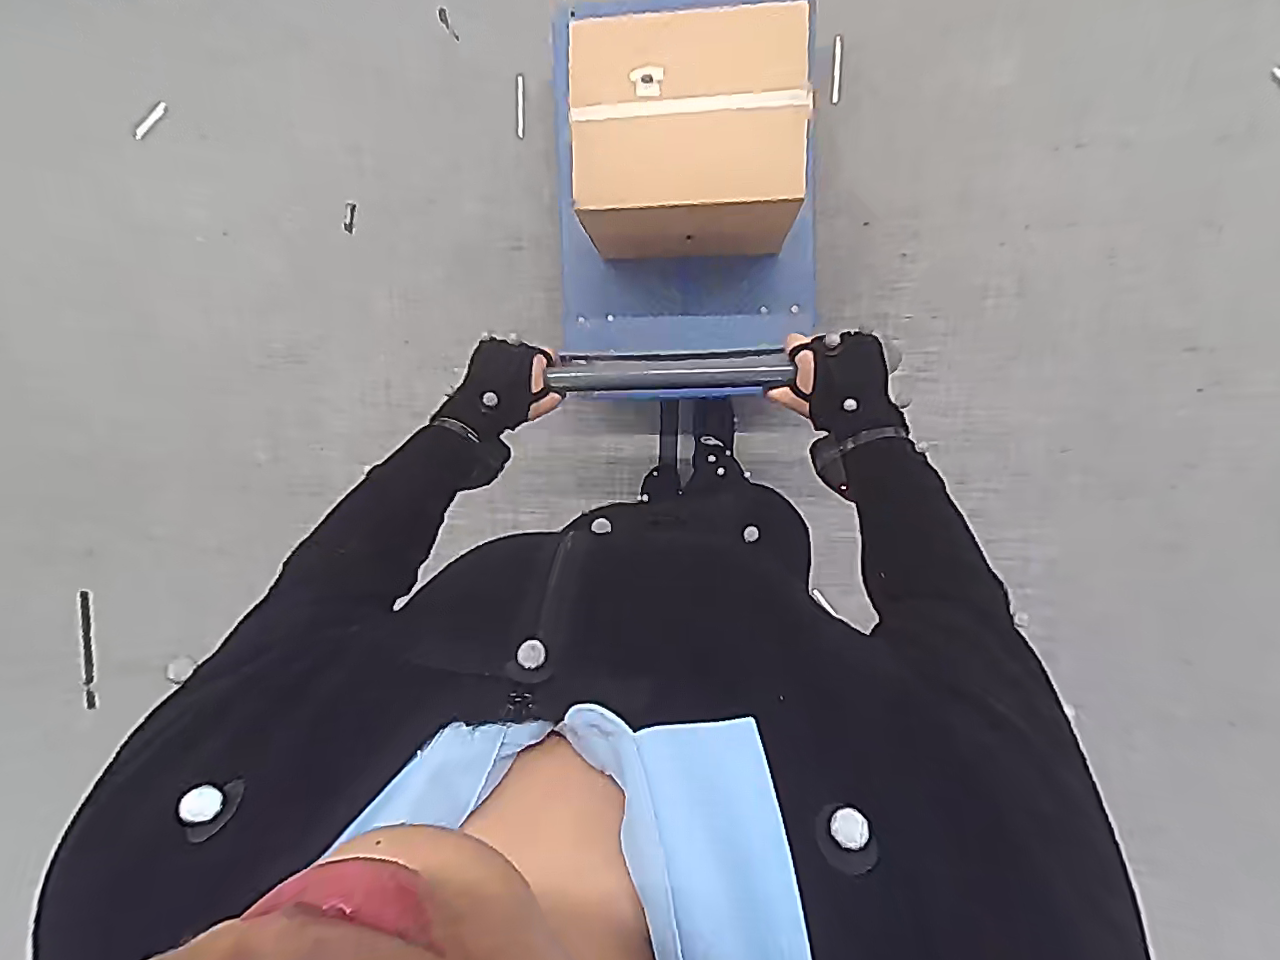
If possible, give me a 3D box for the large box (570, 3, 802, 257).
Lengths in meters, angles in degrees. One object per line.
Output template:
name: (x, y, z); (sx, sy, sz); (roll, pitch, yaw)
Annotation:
large box: (0.096, -0.656, 1.085); (0.408, 0.320, 0.320); (0, 95, 7)
